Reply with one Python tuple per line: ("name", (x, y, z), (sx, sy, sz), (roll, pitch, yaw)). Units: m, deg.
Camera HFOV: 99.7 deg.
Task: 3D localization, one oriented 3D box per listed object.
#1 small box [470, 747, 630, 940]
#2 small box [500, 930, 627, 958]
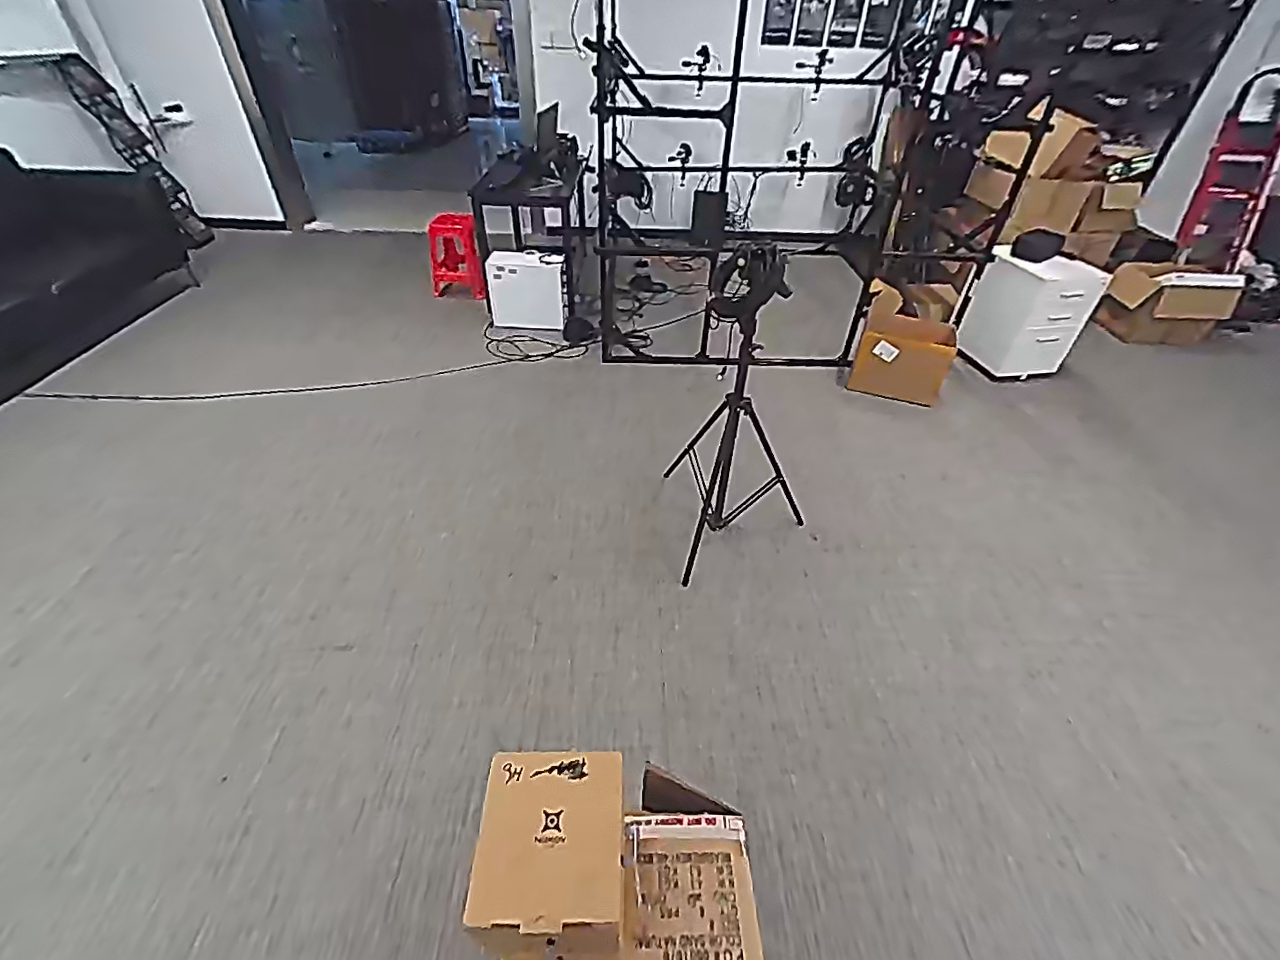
("small box", (-0.097, 0.459, 0.680), (0.168, 0.176, 0.179), (-1, 43, -1))
("small box", (-0.103, 0.575, 0.798), (0.168, 0.176, 0.179), (-2, 43, -1))
